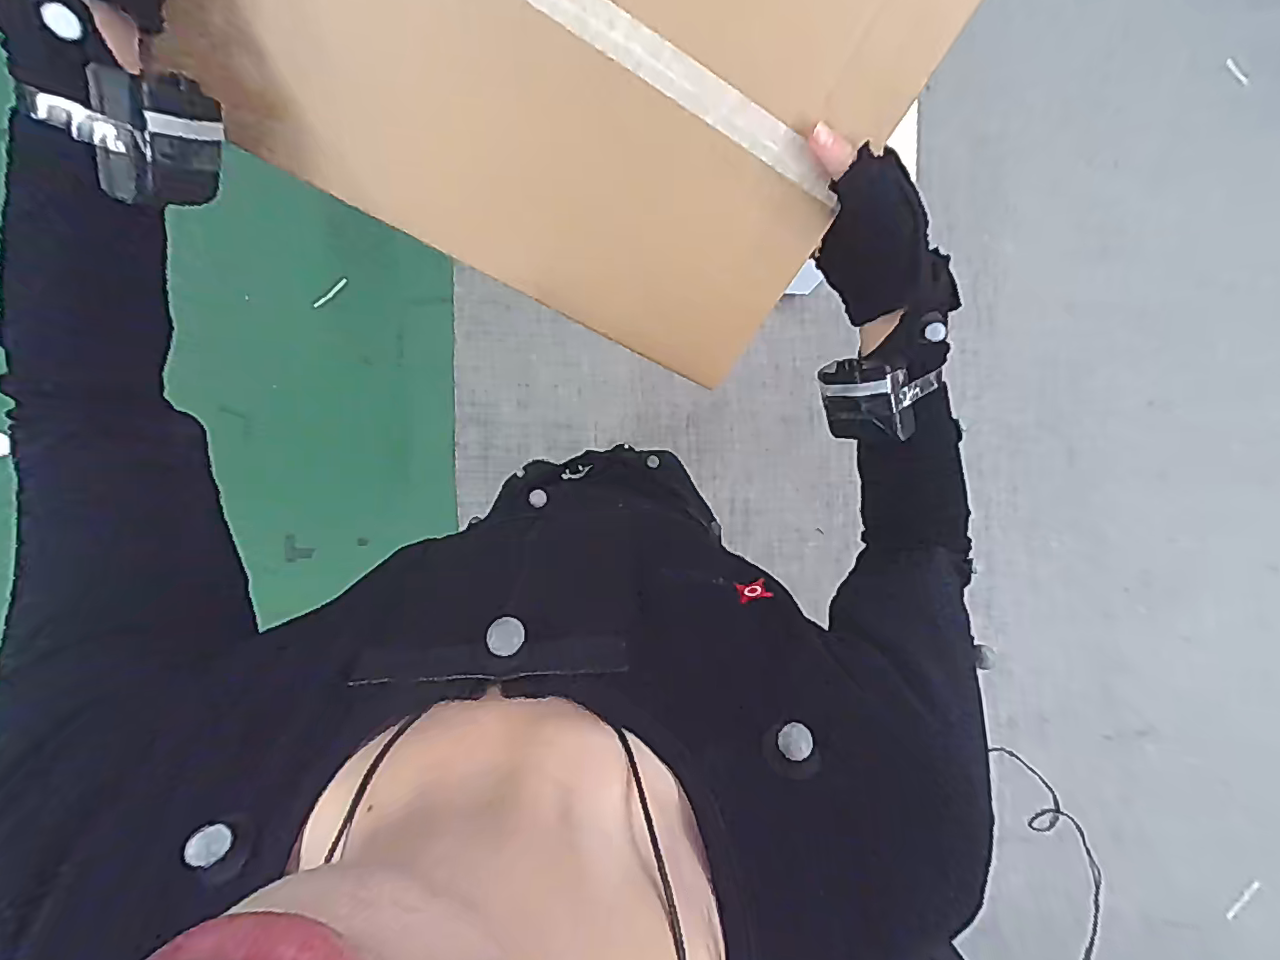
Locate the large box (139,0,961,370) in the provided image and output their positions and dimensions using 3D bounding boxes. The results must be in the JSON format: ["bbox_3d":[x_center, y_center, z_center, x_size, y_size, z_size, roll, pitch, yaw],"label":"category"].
[{"bbox_3d":[-0.043,-0.355,0.411,0.408,0.320,0.320,25,122,-16],"label":"large box"}]
